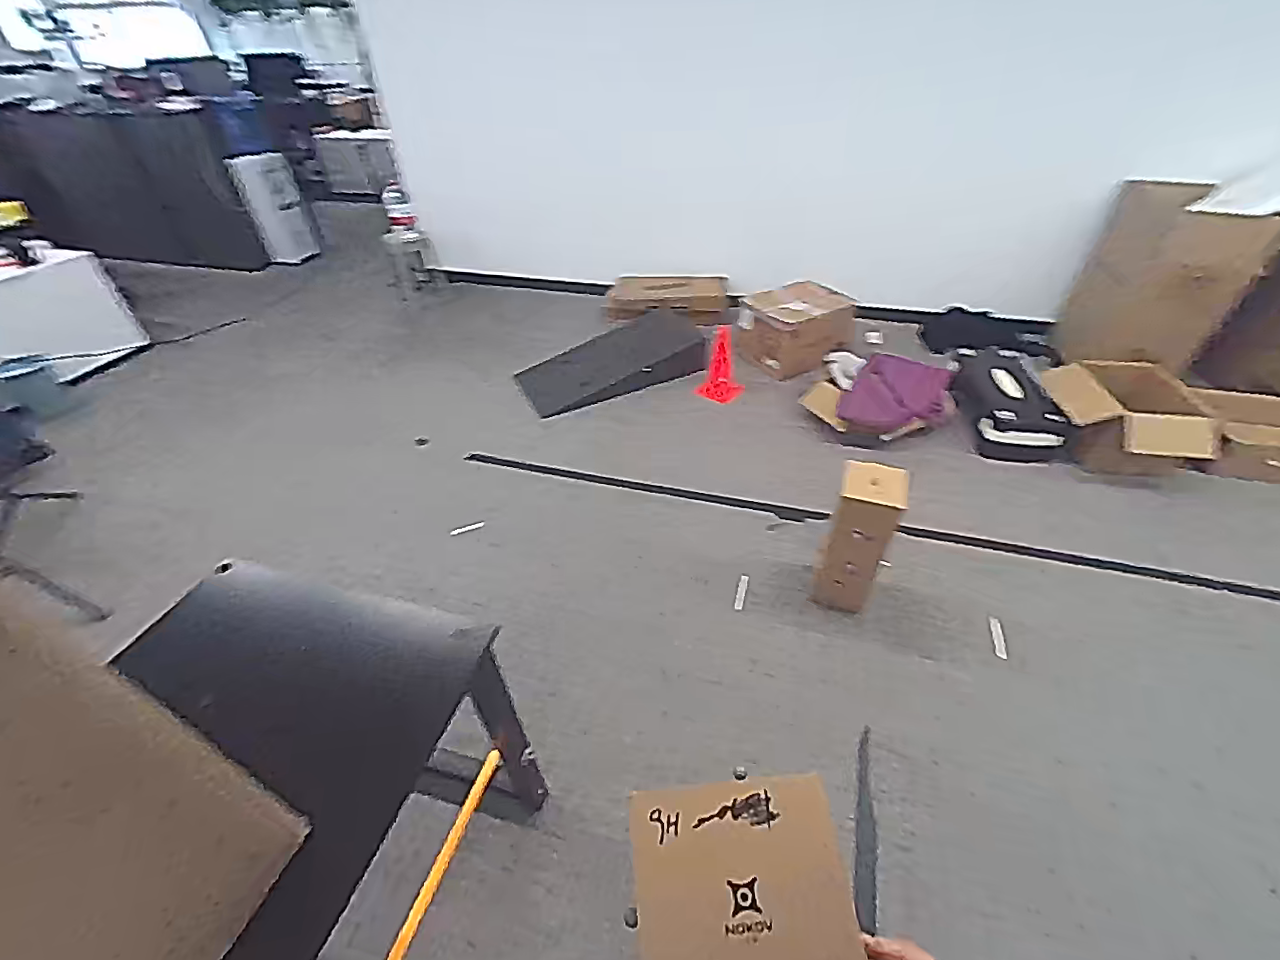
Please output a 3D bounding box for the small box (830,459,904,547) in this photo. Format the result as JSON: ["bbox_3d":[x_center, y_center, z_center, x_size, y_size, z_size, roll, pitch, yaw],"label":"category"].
[{"bbox_3d":[0.663,0.067,1.585,0.168,0.176,0.179,12,44,17],"label":"small box"}]

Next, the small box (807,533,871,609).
[{"bbox_3d":[0.668,0.307,1.808,0.179,0.176,0.168,13,44,16],"label":"small box"}]

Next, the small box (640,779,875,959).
[{"bbox_3d":[0.090,0.373,0.471,0.168,0.176,0.179,-5,55,-1],"label":"small box"}]

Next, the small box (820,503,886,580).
[{"bbox_3d":[0.671,0.181,1.702,0.168,0.176,0.179,12,43,17],"label":"small box"}]
